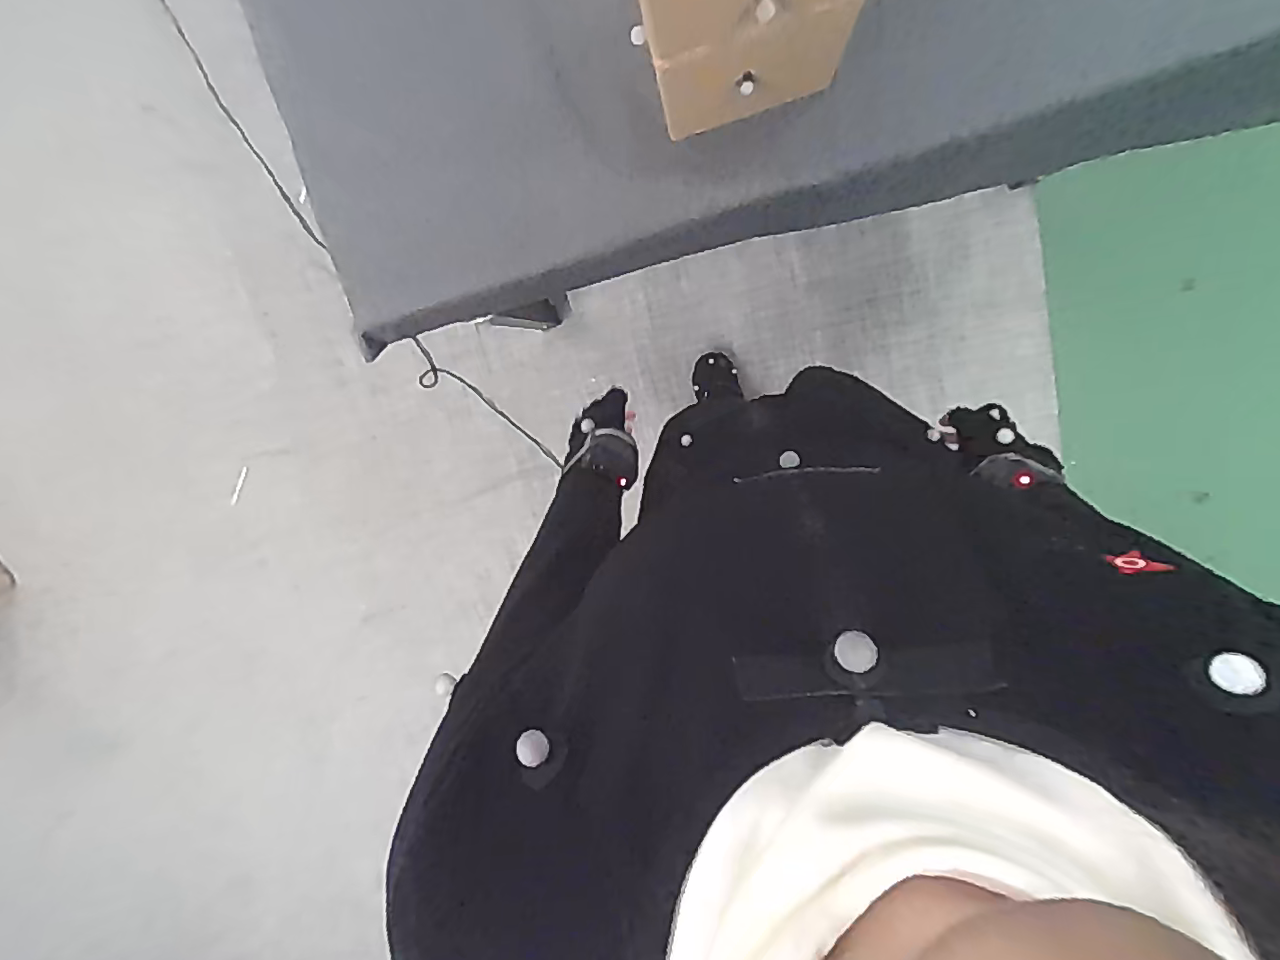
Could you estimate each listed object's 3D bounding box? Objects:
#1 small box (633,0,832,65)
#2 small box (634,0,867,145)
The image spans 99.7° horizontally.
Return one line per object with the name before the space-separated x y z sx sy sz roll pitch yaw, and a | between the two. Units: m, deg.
small box | 0.063 -0.425 0.354 0.179 0.176 0.168 -13 100 10
small box | 0.088 -0.458 0.512 0.179 0.176 0.168 -16 100 10
